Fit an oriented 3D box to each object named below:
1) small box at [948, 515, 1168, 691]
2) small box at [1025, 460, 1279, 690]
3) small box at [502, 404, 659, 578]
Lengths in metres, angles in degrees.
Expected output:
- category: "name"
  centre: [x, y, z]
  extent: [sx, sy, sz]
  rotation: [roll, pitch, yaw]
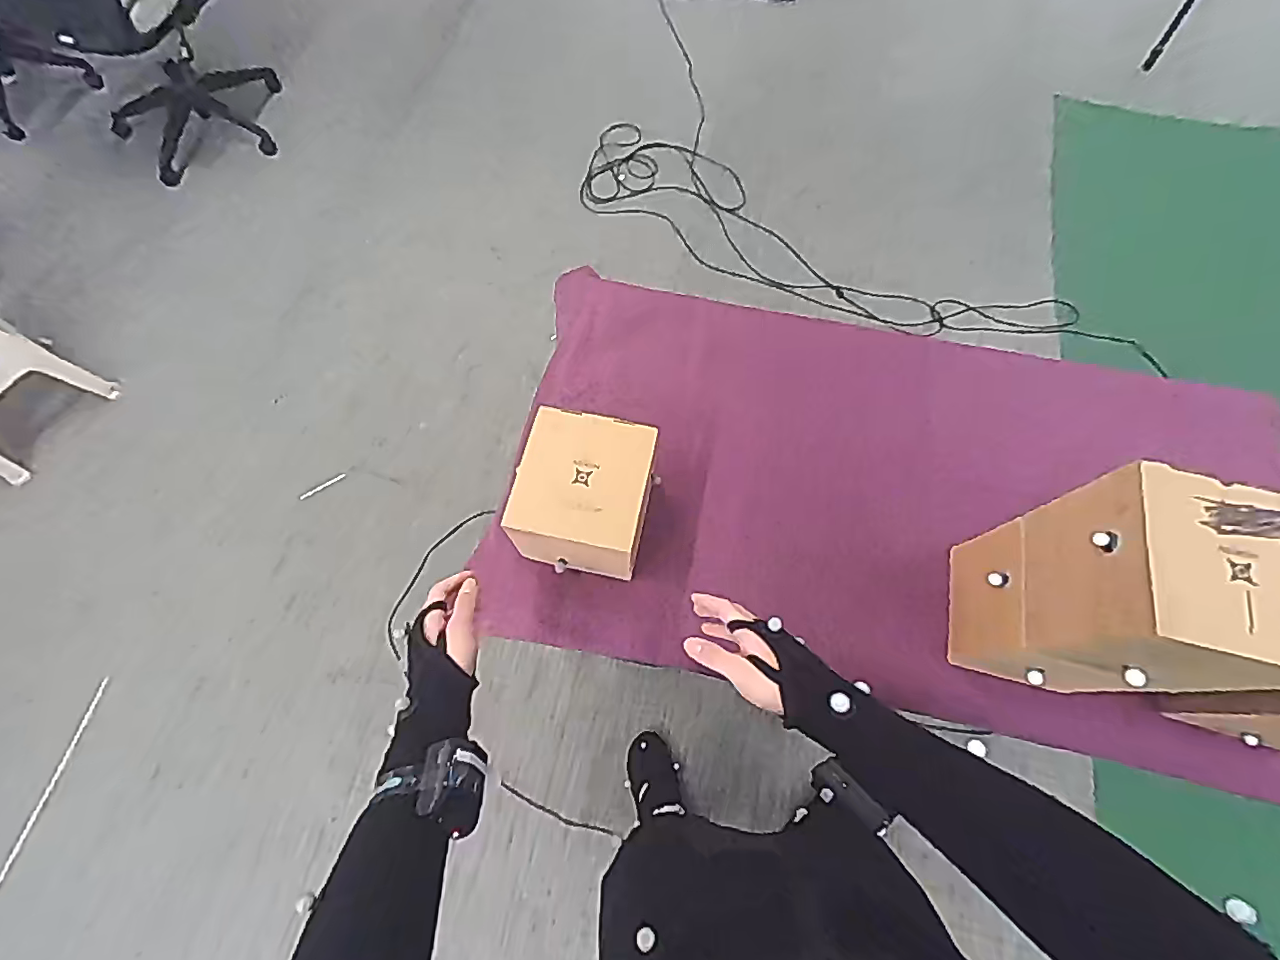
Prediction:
- category: "small box"
  centre: [0.533, 0.170, 0.713]
  extent: [0.168, 0.176, 0.179]
  rotation: [14, 67, 5]
- category: "small box"
  centre: [0.537, 0.106, 0.562]
  extent: [0.168, 0.176, 0.179]
  rotation: [14, 68, 5]
- category: "small box"
  centre: [-0.074, 0.023, 0.760]
  extent: [0.168, 0.176, 0.179]
  rotation: [12, 68, 4]
